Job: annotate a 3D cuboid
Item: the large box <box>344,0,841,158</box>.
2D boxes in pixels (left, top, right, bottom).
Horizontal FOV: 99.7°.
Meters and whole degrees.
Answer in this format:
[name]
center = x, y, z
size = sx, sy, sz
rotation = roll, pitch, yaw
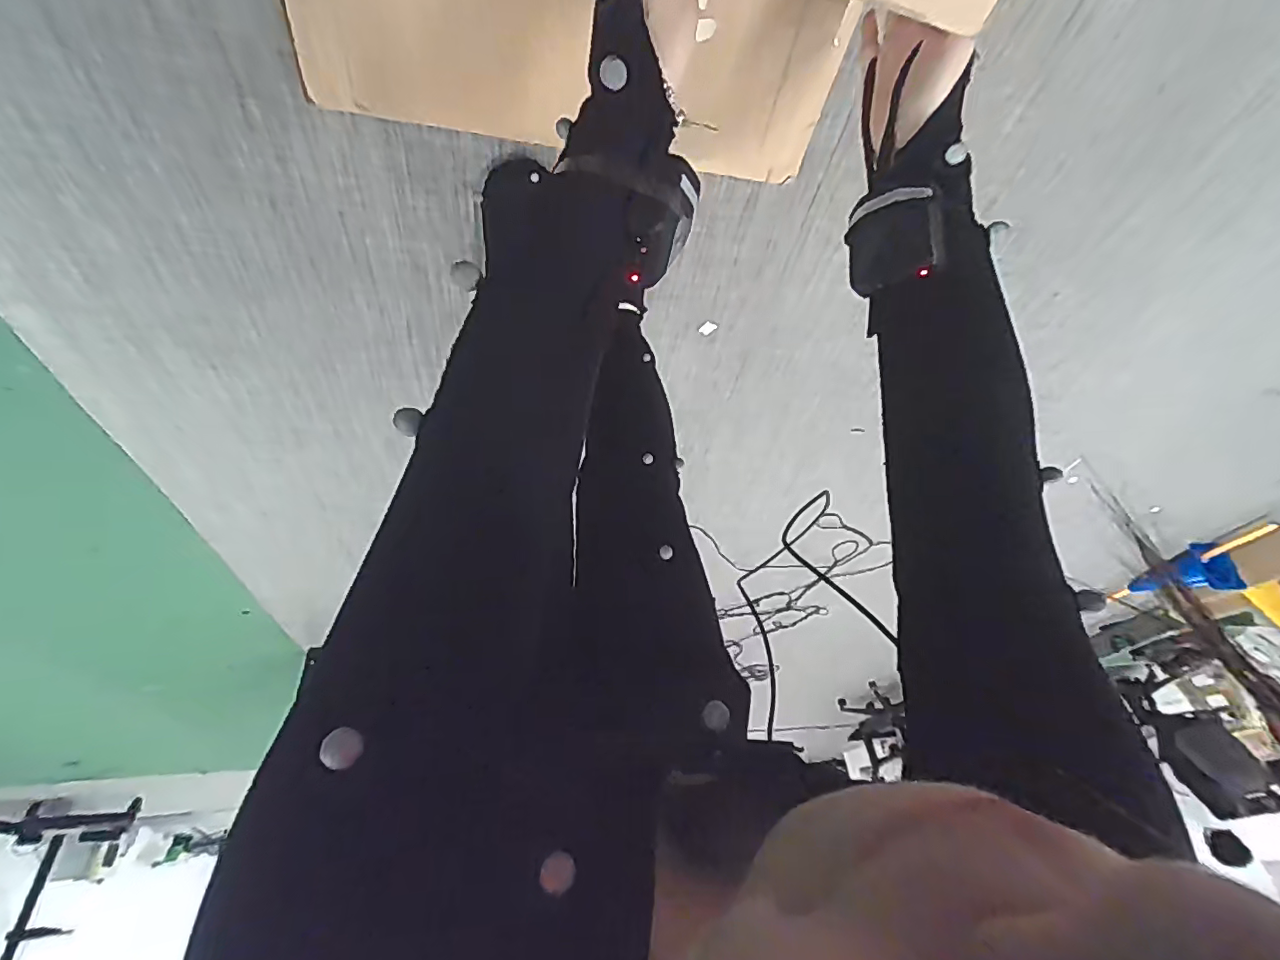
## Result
[large box]
center = -0.041, -0.532, 0.479
size = 0.408, 0.320, 0.320
rotation = 0, 143, -12
